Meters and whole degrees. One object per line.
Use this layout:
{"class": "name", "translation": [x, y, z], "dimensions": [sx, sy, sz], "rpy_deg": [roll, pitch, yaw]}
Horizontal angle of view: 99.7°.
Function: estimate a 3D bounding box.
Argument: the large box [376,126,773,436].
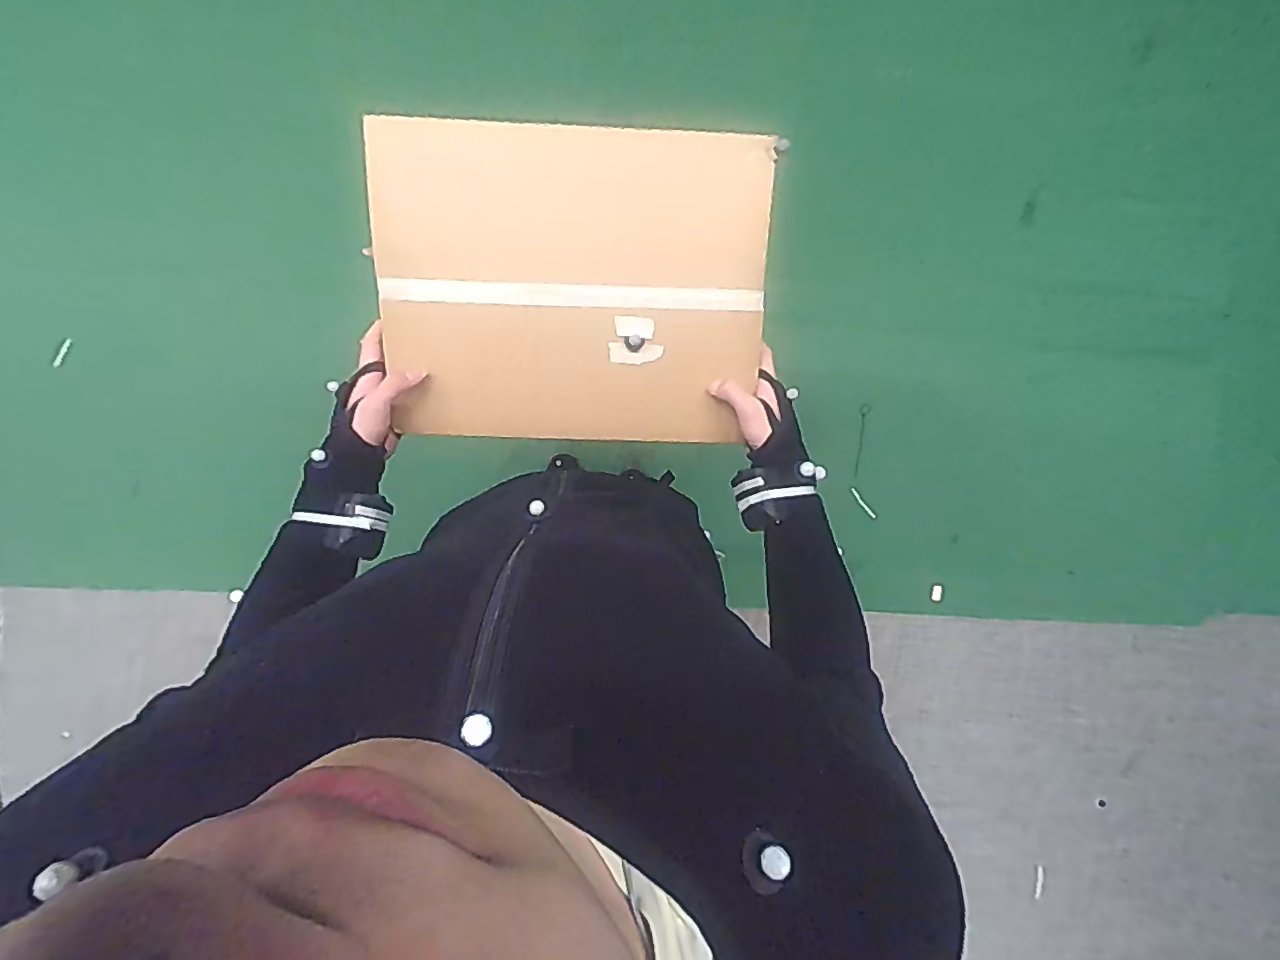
{"class": "large box", "translation": [-0.073, -0.241, 0.723], "dimensions": [0.408, 0.320, 0.320], "rpy_deg": [1, 107, -3]}
